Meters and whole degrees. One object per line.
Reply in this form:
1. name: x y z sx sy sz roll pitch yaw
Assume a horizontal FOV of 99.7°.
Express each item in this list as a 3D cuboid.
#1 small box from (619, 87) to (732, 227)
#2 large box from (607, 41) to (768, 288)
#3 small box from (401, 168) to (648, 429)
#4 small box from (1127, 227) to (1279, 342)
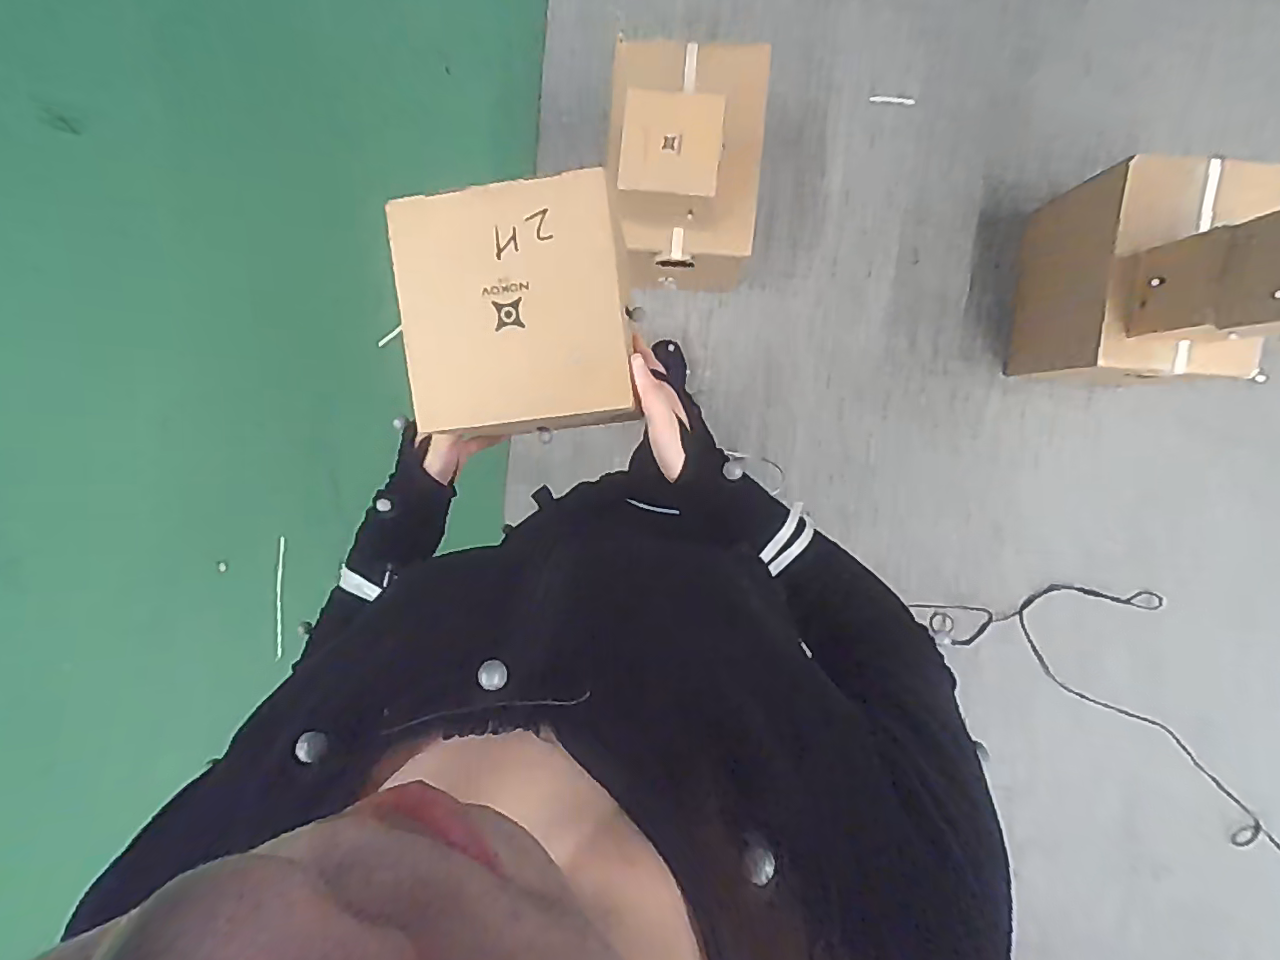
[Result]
1. small box: 0.065 -0.587 1.004 0.179 0.176 0.168 8 97 4
2. large box: 0.099 -0.683 1.238 0.320 0.320 0.408 5 96 3
3. small box: -0.084 -0.139 0.480 0.168 0.176 0.179 -5 93 4
4. small box: 1.059 -0.347 0.987 0.179 0.176 0.168 4 98 4
